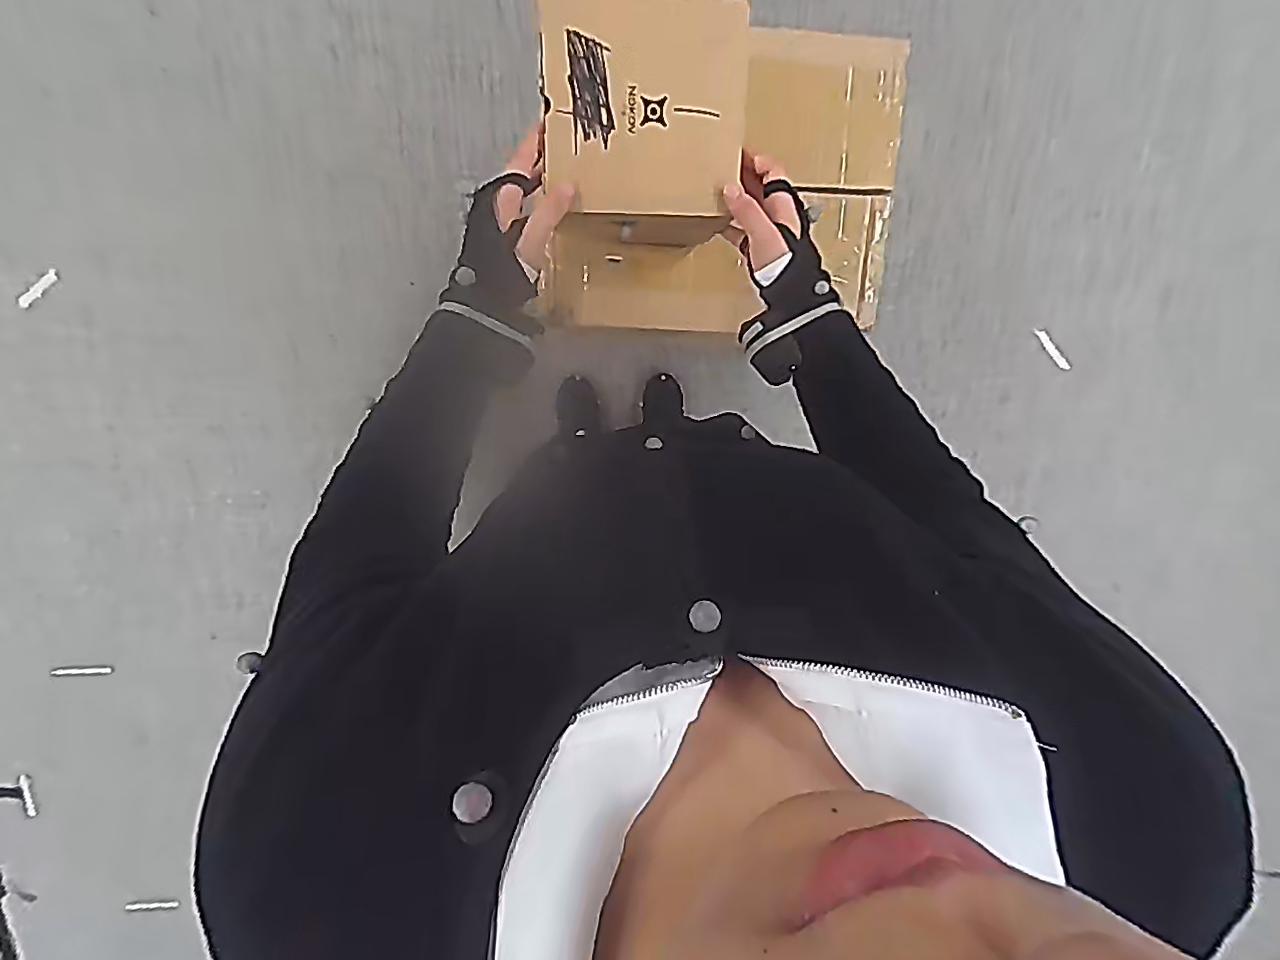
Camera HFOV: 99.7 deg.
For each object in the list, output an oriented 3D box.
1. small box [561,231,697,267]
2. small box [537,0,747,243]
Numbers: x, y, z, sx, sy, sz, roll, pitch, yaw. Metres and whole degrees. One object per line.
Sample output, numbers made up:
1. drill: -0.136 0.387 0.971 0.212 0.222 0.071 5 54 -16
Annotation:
1. small box: -0.015 -0.384 0.702 0.168 0.176 0.179 0 105 -3
2. small box: -0.003 -0.340 0.543 0.179 0.176 0.168 0 106 -4
